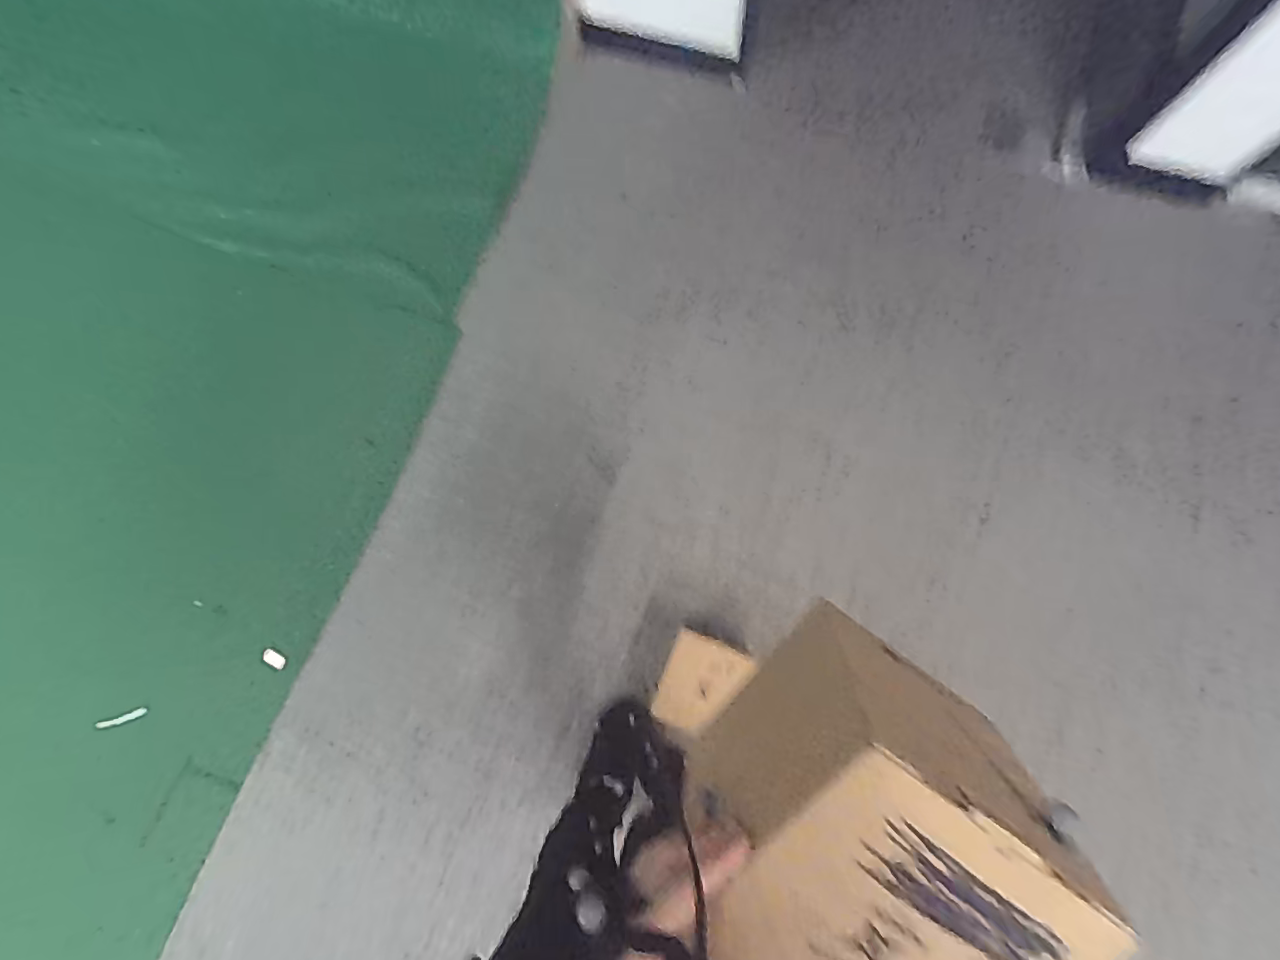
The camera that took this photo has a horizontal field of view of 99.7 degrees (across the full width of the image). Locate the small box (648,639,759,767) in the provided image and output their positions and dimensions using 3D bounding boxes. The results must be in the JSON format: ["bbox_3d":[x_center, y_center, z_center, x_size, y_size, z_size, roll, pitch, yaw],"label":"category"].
[{"bbox_3d":[0.129,0.446,1.114,0.168,0.176,0.179,22,80,8],"label":"small box"}]
